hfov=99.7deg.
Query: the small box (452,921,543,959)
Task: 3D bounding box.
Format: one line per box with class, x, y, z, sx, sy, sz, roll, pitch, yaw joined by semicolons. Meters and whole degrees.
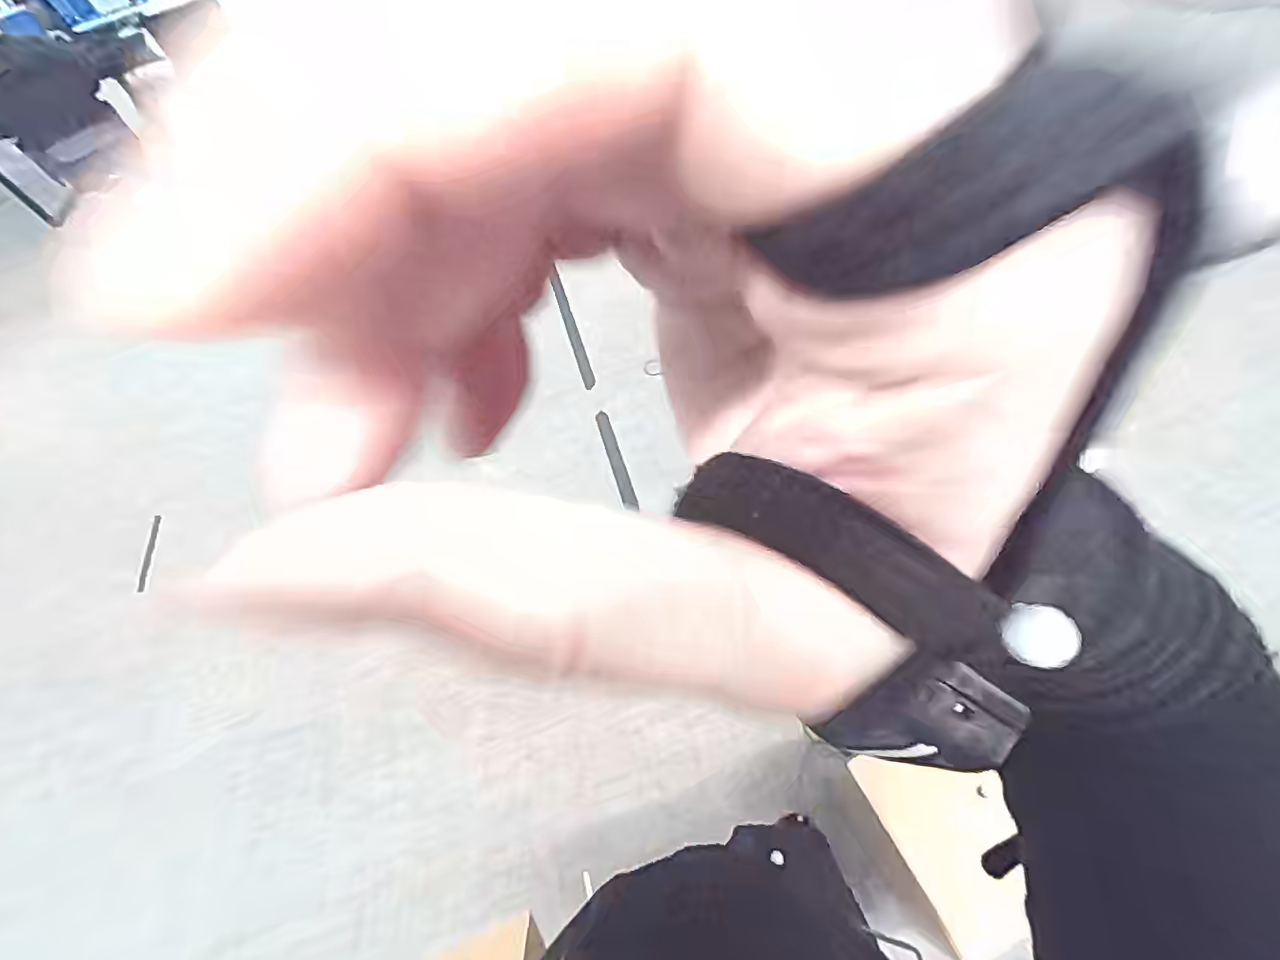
small box;-0.191;0.733;0.683;0.168;0.179;0.176;-22;88;-7
